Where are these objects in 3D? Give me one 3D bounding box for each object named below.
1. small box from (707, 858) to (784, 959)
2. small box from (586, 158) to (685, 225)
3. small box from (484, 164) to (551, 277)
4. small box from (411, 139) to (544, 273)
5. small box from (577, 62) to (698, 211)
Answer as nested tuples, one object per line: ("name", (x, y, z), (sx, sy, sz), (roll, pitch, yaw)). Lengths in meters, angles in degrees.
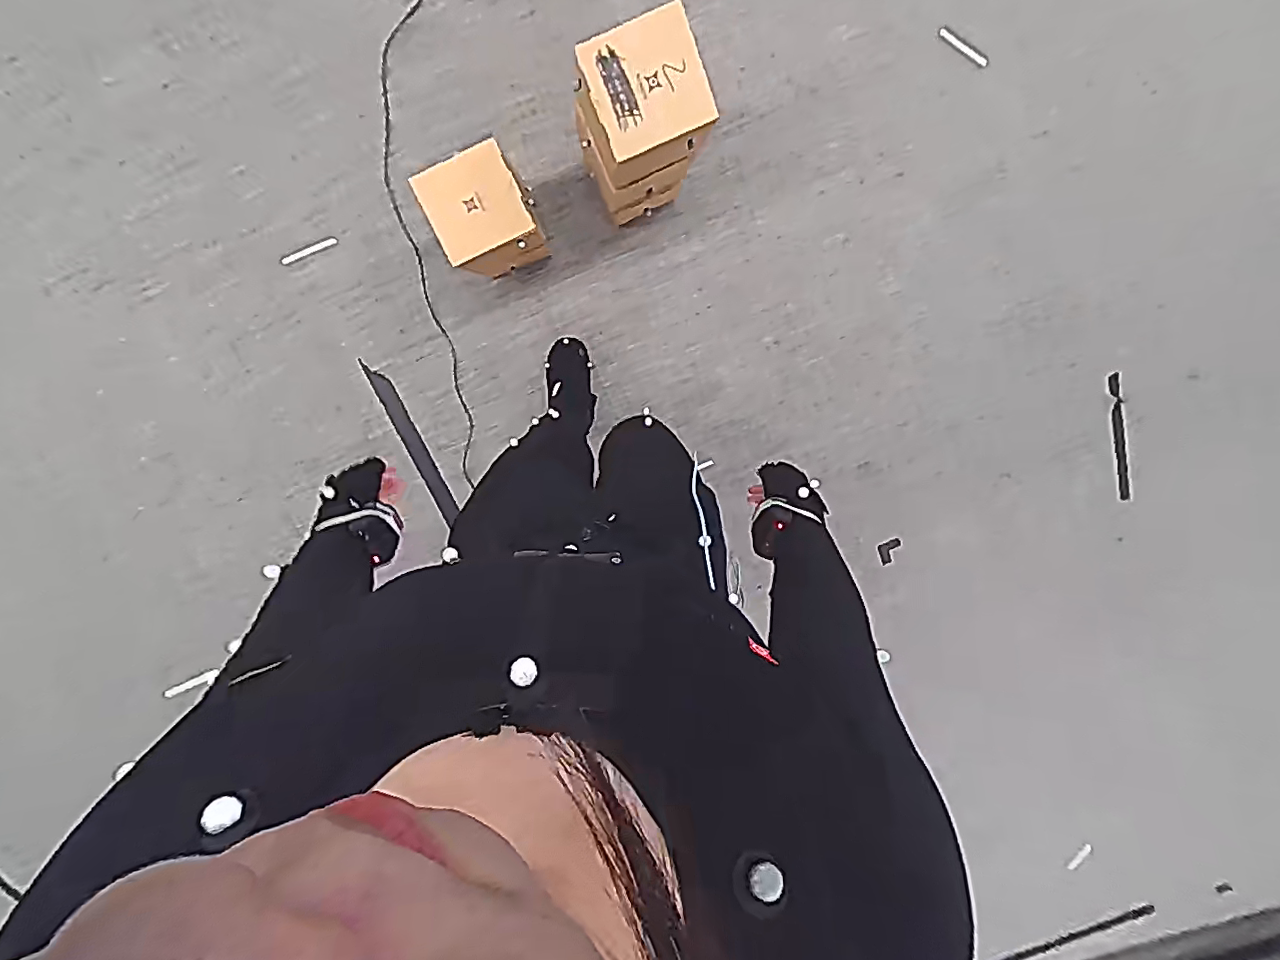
("small box", (0.309, 1.293, 1.631), (0.179, 0.176, 0.168), (-18, 108, 1))
("small box", (-0.017, -0.699, 1.206), (0.168, 0.176, 0.179), (-24, 107, 3))
("small box", (-0.312, -0.574, 1.220), (0.168, 0.176, 0.179), (-20, 108, 2))
("small box", (-0.308, -0.525, 1.066), (0.179, 0.176, 0.168), (-24, 106, 3))
("small box", (-0.011, -0.652, 1.048), (0.179, 0.176, 0.168), (-25, 106, 2))
